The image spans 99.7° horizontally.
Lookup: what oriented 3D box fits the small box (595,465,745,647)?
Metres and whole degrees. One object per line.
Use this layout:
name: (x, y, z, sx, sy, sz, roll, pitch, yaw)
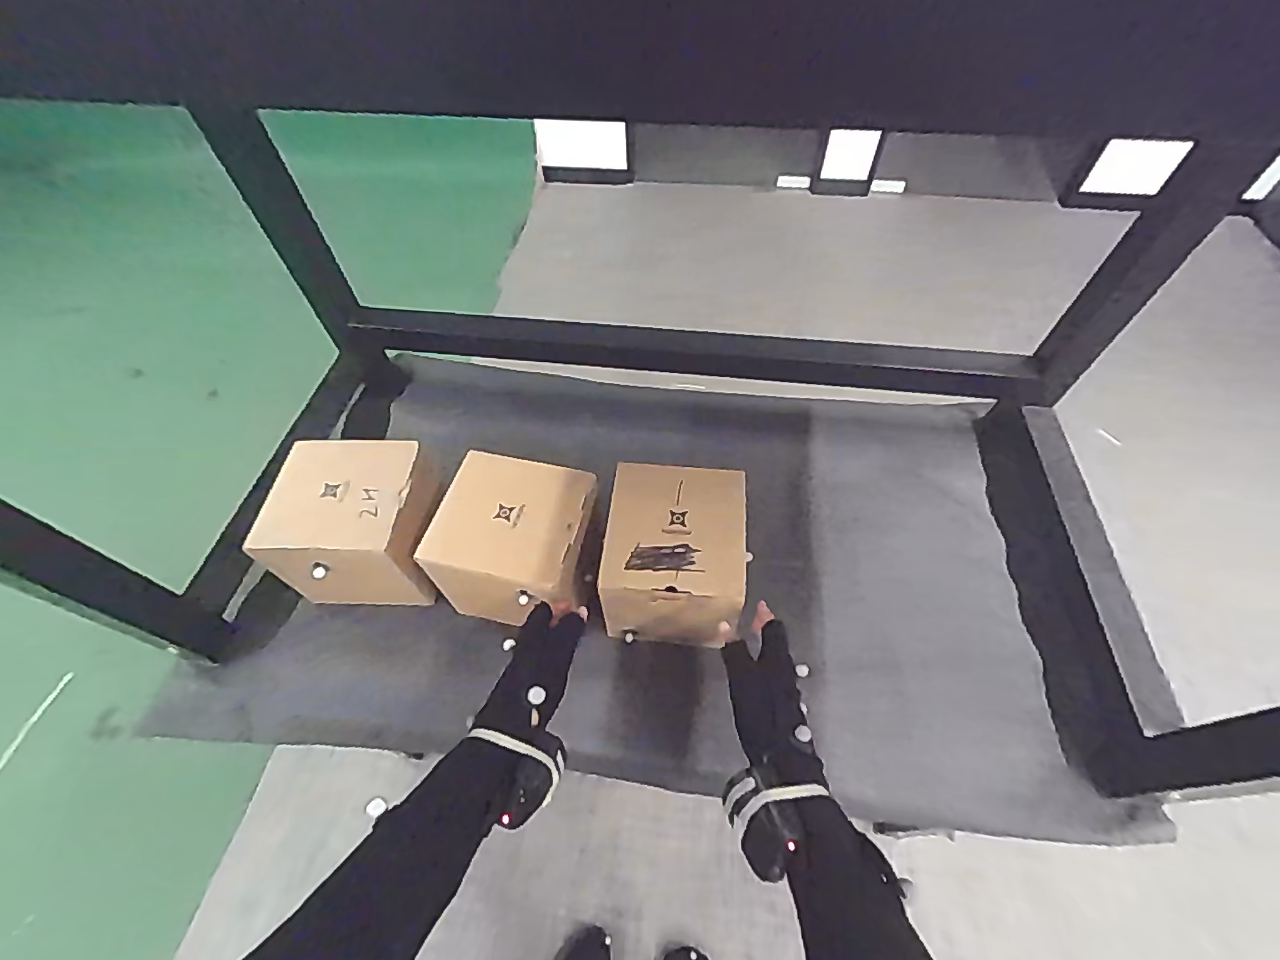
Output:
small box: (0.044, 0.103, 0.703, 0.168, 0.176, 0.179, 5, 55, 5)
